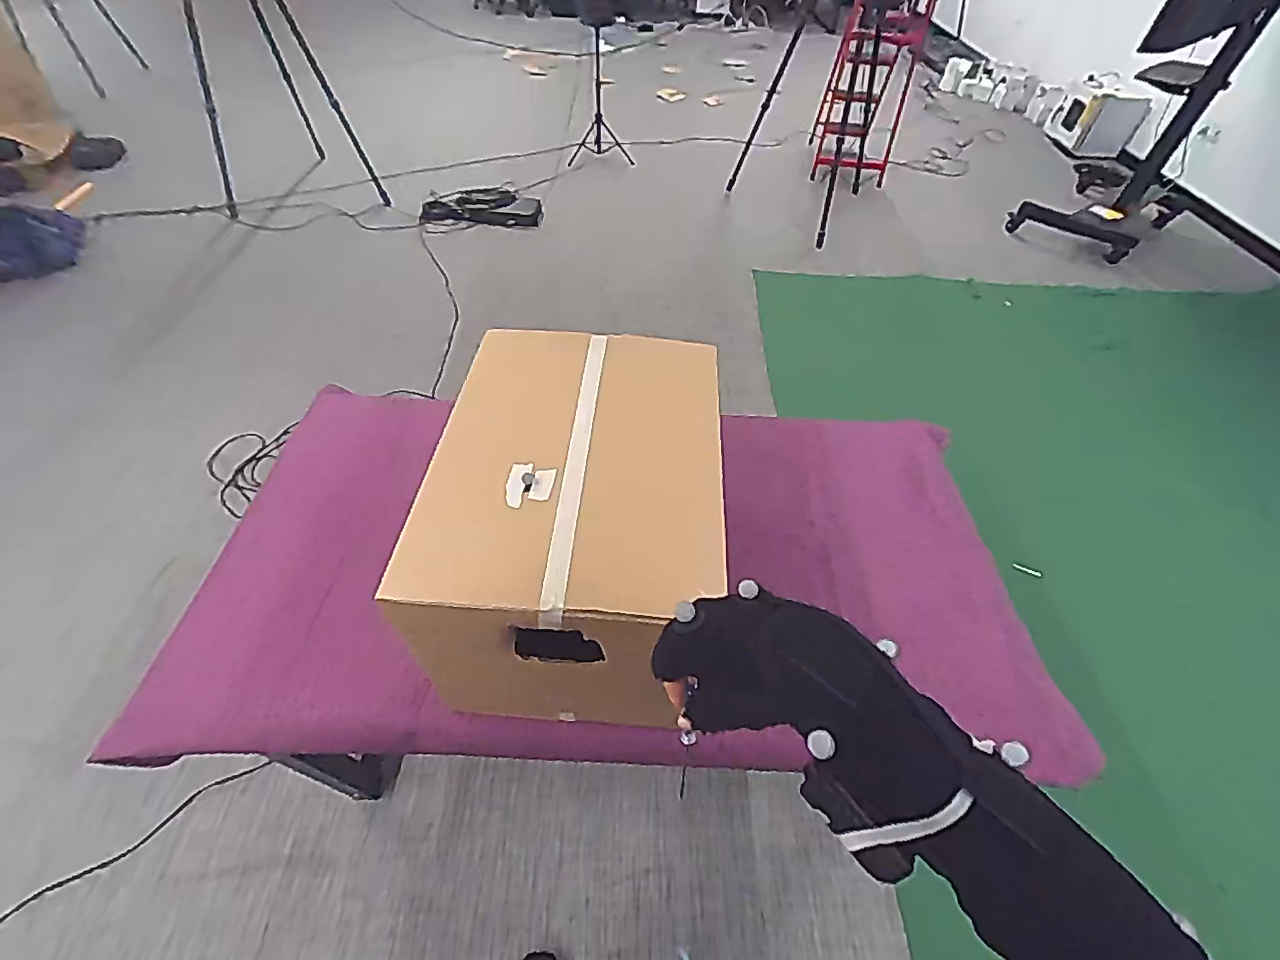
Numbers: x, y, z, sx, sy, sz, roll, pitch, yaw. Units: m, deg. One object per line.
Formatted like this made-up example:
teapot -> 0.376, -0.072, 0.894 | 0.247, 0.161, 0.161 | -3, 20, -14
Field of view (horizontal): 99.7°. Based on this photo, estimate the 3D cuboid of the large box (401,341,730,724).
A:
large box -> -0.068, 0.068, 0.732 | 0.320, 0.320, 0.408 | 5, 51, 0
